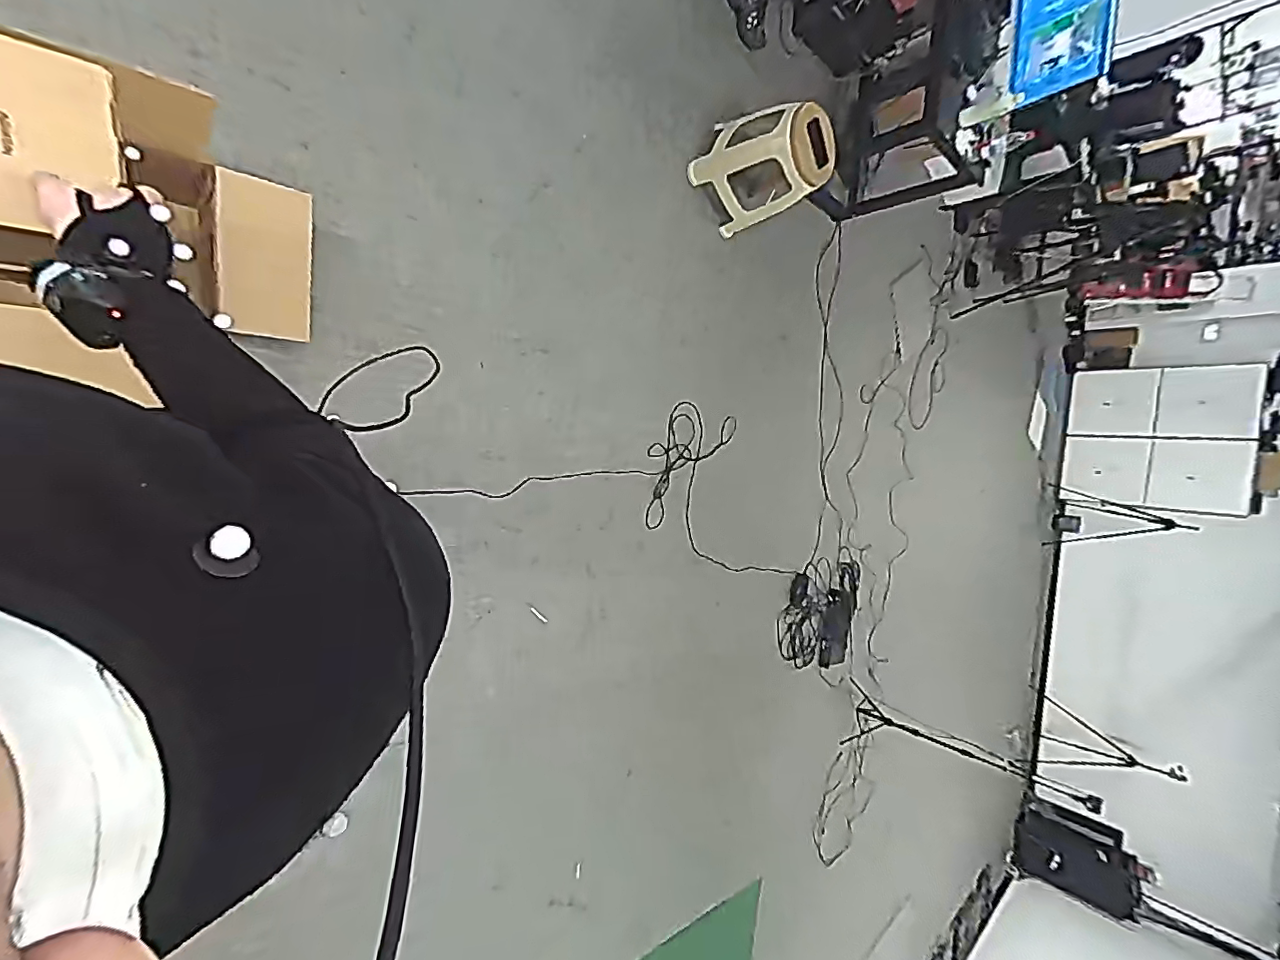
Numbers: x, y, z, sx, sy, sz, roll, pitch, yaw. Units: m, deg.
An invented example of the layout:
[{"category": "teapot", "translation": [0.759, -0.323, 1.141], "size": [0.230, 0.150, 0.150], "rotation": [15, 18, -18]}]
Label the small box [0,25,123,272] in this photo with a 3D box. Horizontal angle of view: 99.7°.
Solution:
[{"category": "small box", "translation": [-0.615, -0.310, 0.512], "size": [0.179, 0.176, 0.168], "rotation": [-3, 94, -41]}]
